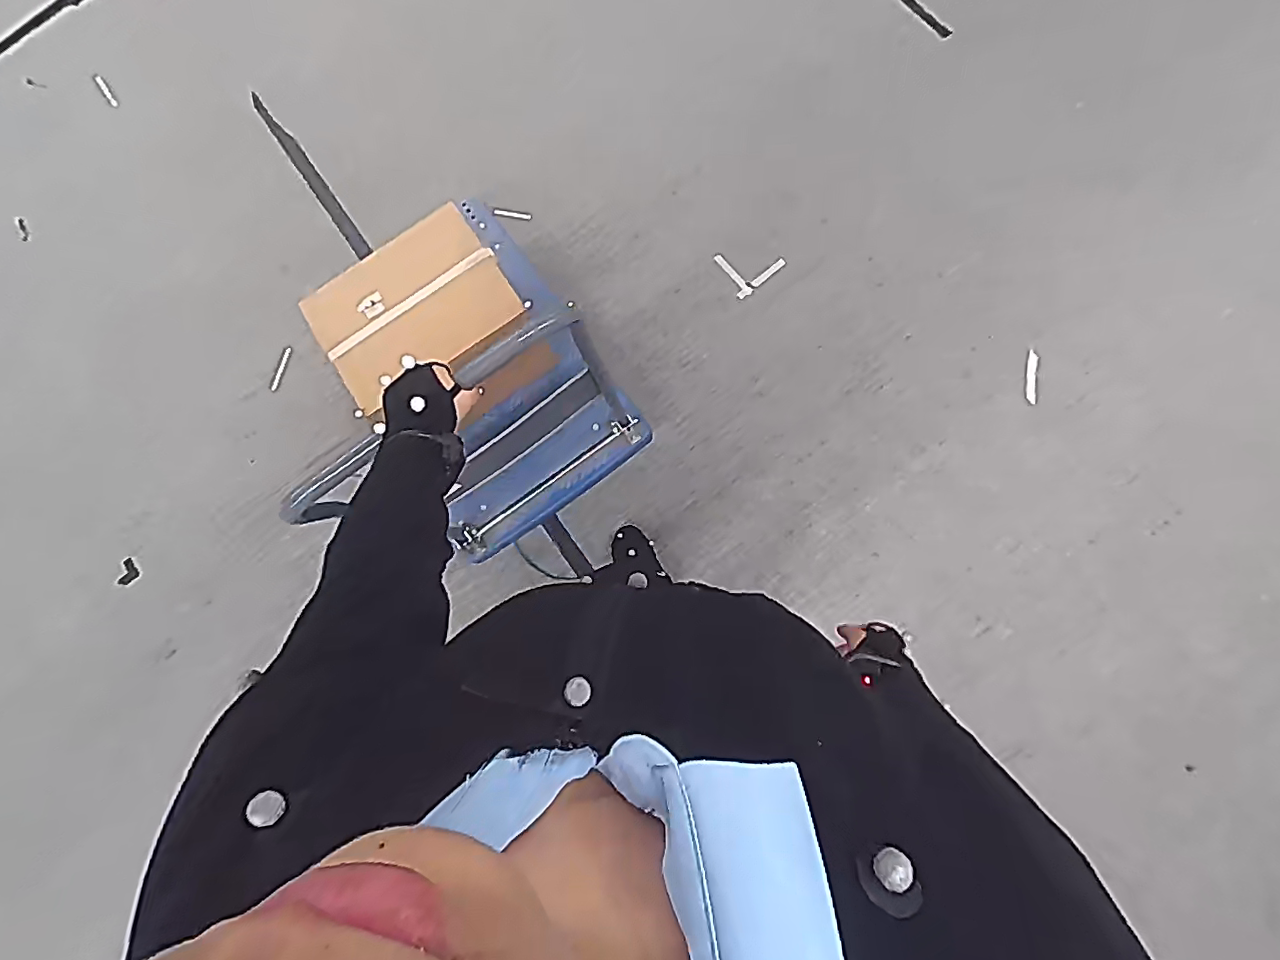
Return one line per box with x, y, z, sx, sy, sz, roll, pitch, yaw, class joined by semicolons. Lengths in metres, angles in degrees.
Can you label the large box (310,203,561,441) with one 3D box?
-0.464;-0.352;1.301;0.408;0.320;0.320;-34;79;0;large box
